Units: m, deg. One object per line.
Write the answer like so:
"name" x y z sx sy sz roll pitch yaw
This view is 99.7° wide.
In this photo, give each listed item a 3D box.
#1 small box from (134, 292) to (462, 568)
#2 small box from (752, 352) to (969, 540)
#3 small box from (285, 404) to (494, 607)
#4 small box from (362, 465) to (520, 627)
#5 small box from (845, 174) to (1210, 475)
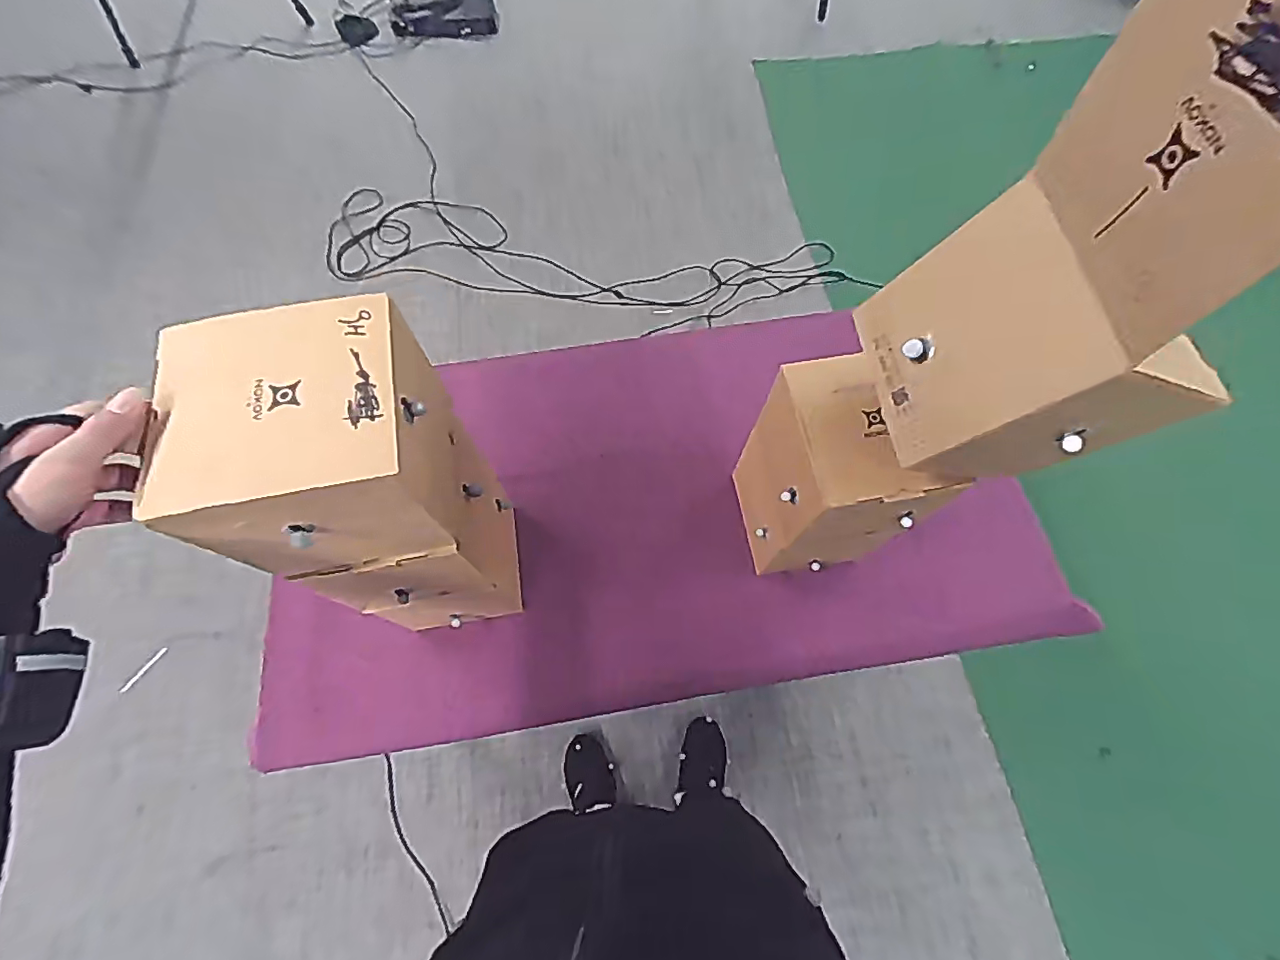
"small box" -0.274 -0.032 0.477 0.179 0.176 0.168 -11 67 -5
"small box" 0.245 -0.034 0.652 0.168 0.176 0.179 -9 67 -4
"small box" -0.274 0.035 0.627 0.168 0.176 0.179 -10 68 -5
"small box" -0.275 0.100 0.775 0.168 0.176 0.179 -9 67 -3
"small box" 0.314 -0.111 0.465 0.179 0.176 0.168 4 67 -28
